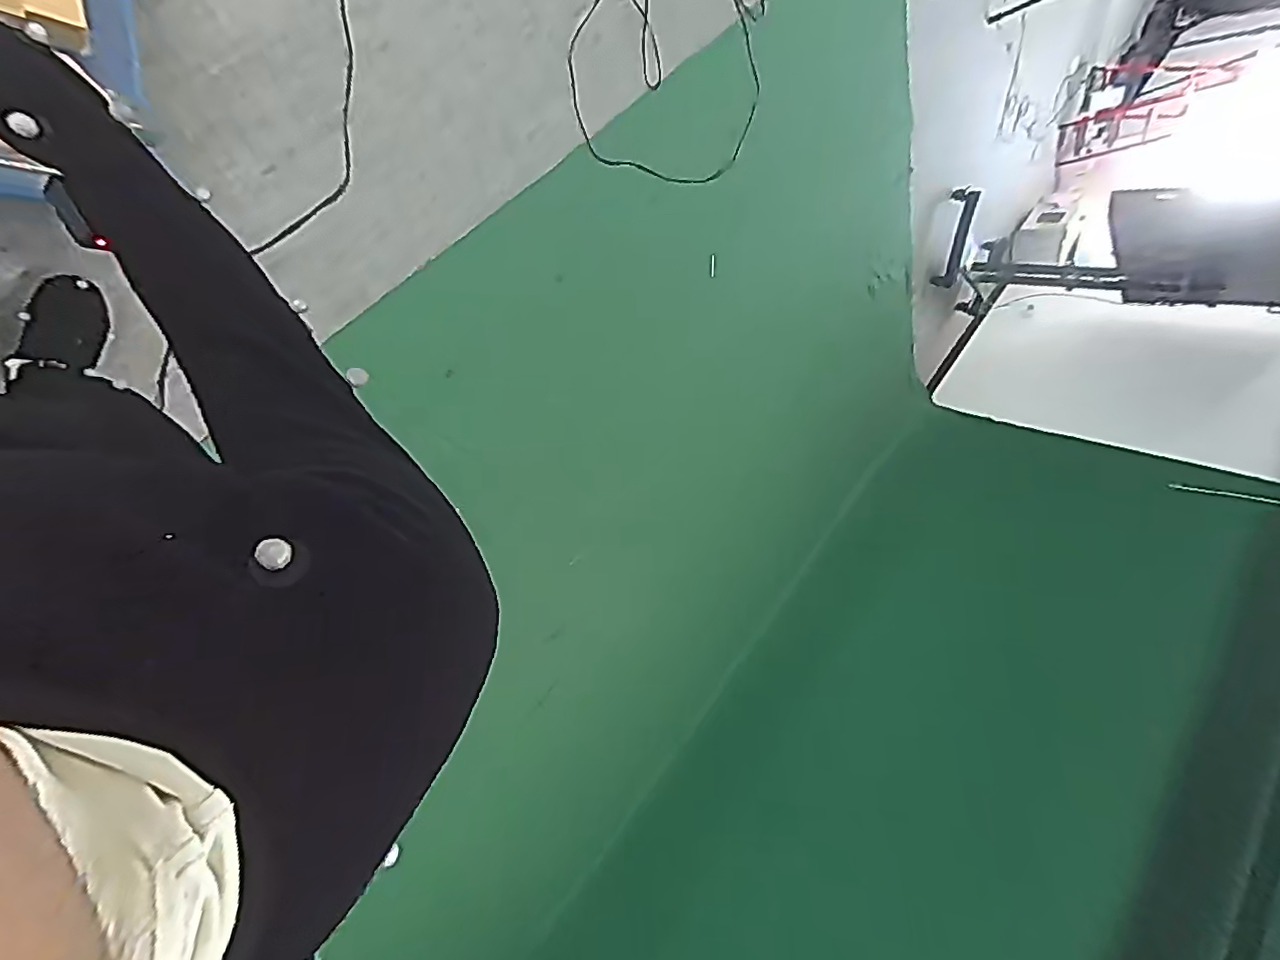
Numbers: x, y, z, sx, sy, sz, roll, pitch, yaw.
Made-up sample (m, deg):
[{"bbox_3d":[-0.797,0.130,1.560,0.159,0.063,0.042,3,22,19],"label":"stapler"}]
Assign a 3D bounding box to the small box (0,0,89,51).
[{"bbox_3d":[-0.894,-0.738,0.744,0.168,0.176,0.179,-11,117,-43],"label":"small box"}]
